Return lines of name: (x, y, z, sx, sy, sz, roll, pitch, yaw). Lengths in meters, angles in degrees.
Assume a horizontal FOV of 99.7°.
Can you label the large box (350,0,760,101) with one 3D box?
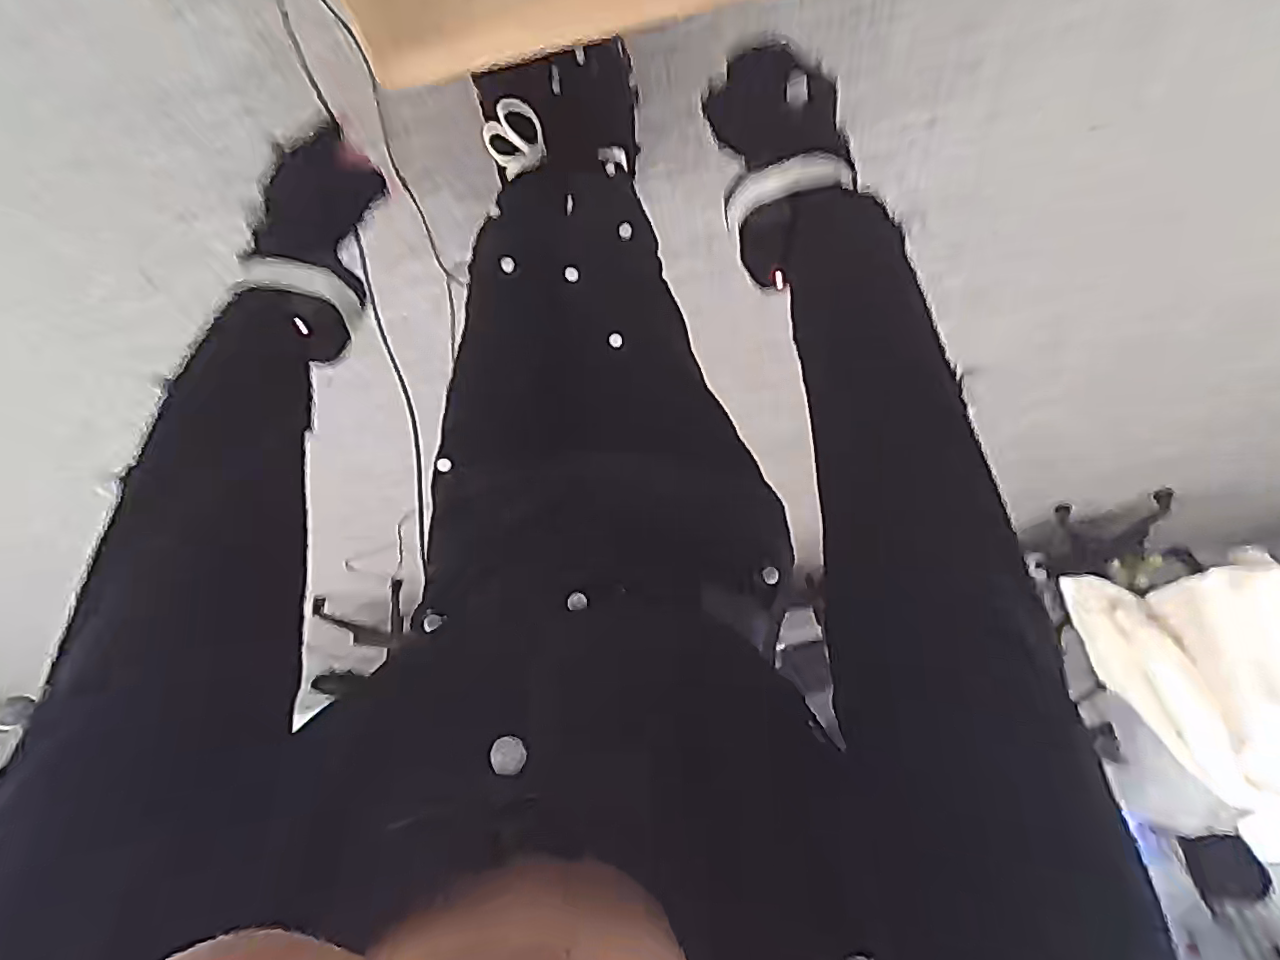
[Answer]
large box: (-0.092, -0.620, 0.483, 0.408, 0.320, 0.320, -10, 146, 6)
